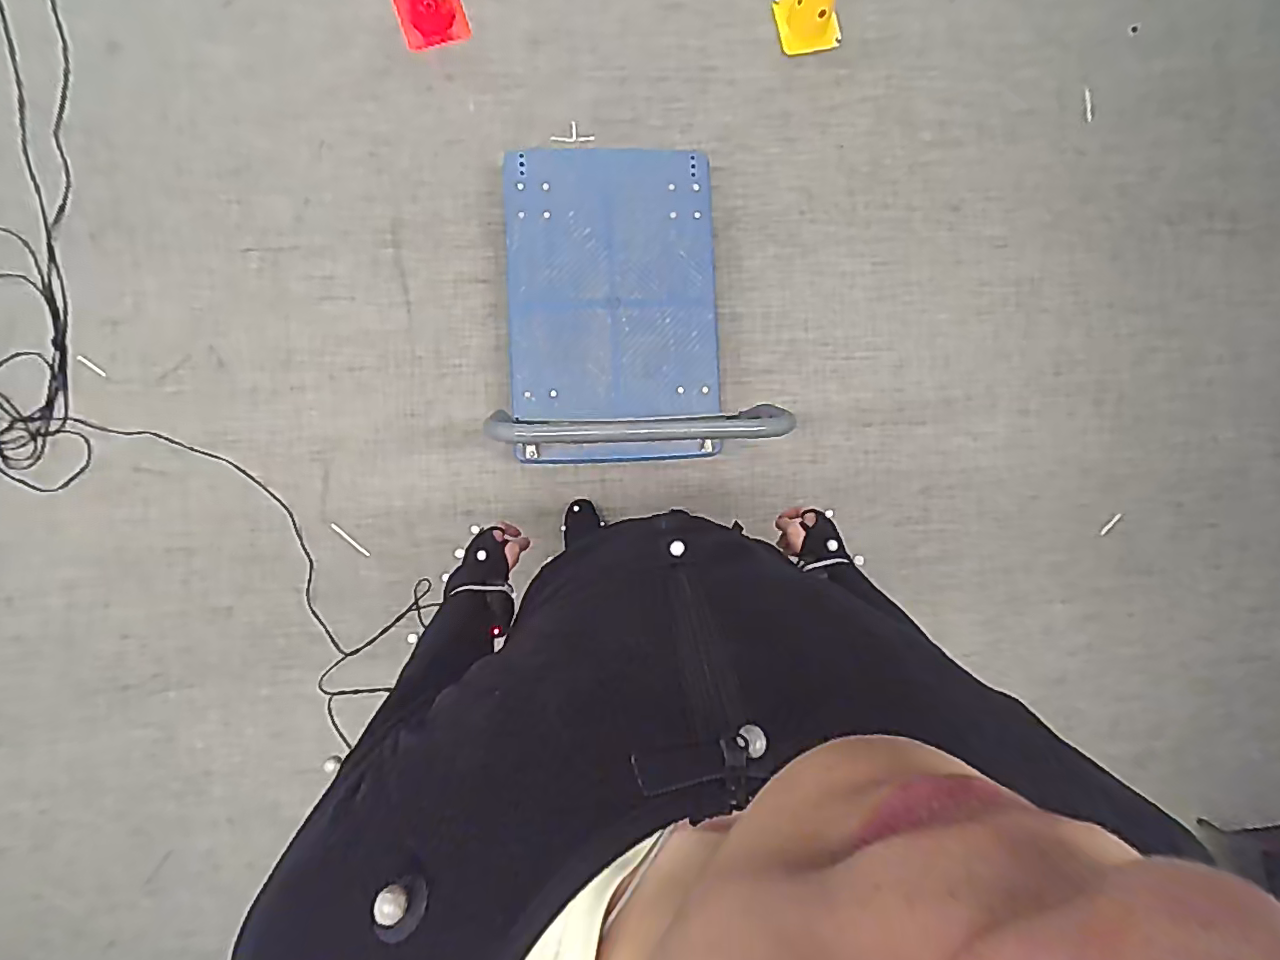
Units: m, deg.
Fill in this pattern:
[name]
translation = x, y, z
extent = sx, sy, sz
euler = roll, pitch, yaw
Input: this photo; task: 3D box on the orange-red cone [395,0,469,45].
[orange-red cone]
translation = -0.628, -1.446, 1.483
extent = 0.199, 0.360, 0.198
euler = -17, 88, -3
